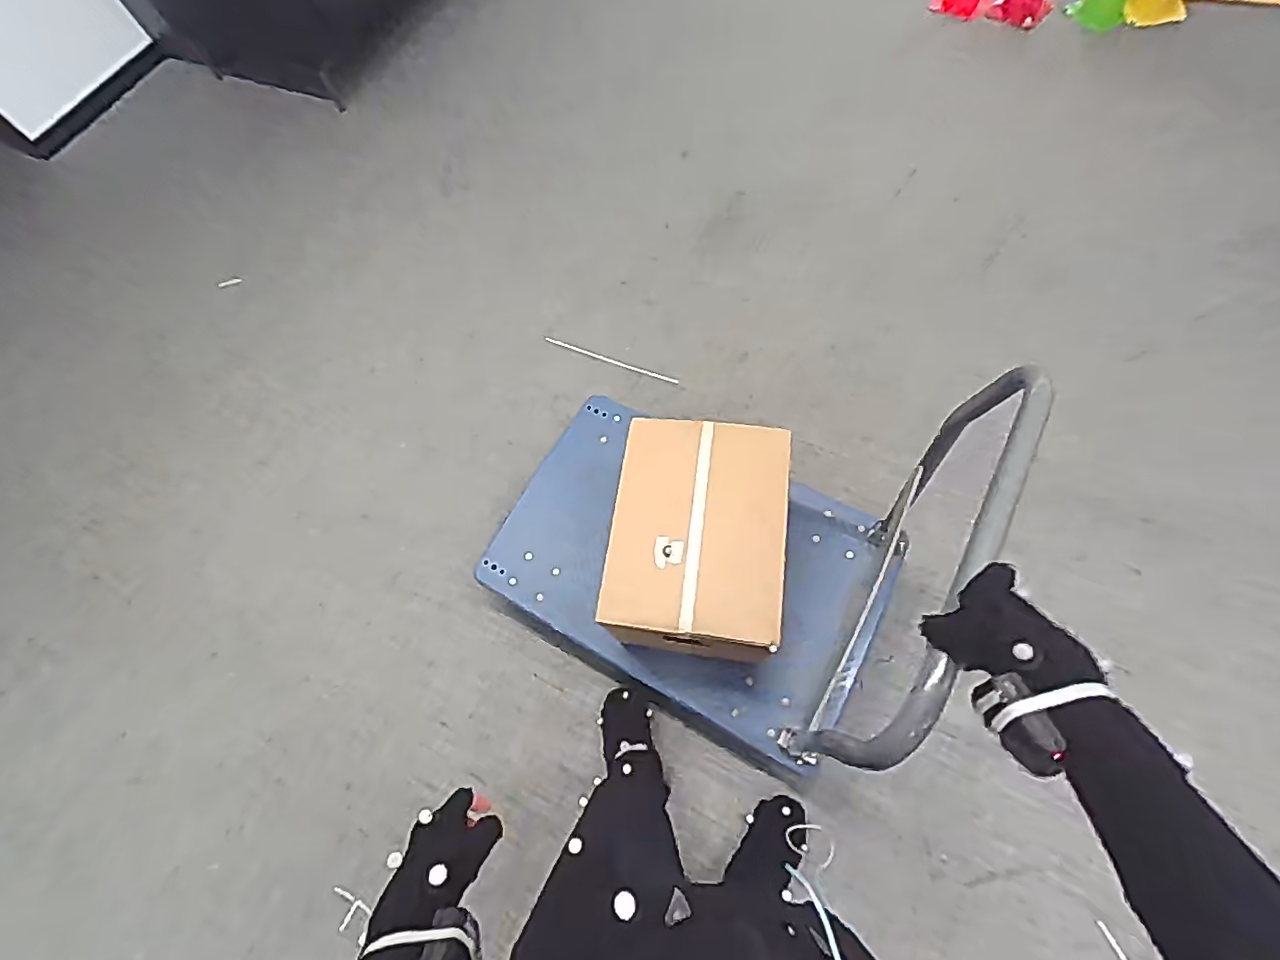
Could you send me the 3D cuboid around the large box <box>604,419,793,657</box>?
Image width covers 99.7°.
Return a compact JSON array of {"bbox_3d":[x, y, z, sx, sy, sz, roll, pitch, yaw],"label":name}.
[{"bbox_3d":[0.127,0.129,1.116,0.320,0.320,0.408,6,69,9],"label":"large box"}]
